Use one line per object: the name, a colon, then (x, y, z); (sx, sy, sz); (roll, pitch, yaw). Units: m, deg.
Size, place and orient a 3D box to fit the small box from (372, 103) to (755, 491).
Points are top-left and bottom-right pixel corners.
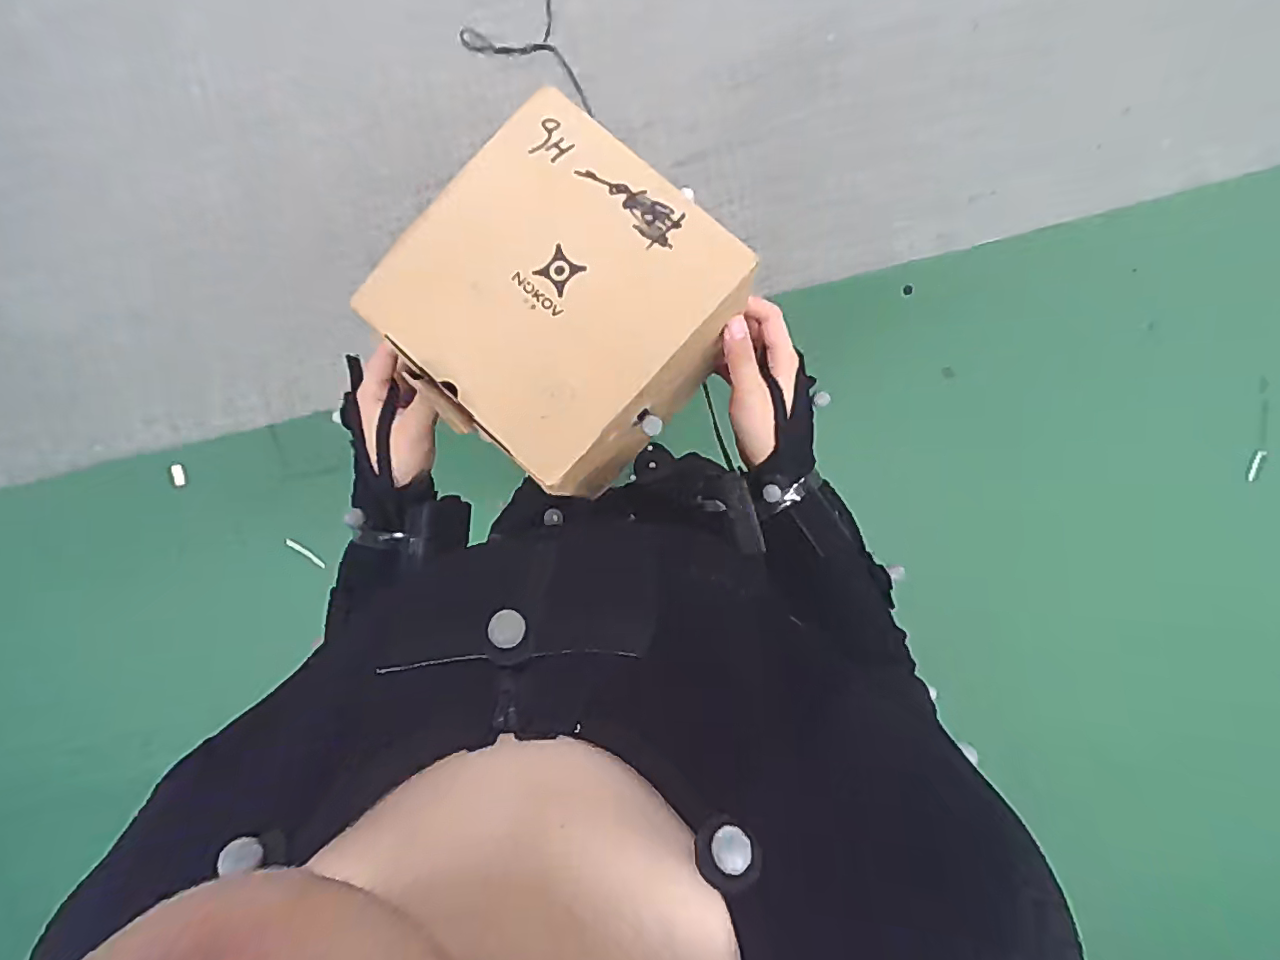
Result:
small box: (-0.040, -0.104, 0.395); (0.168, 0.176, 0.179); (43, 91, 5)
